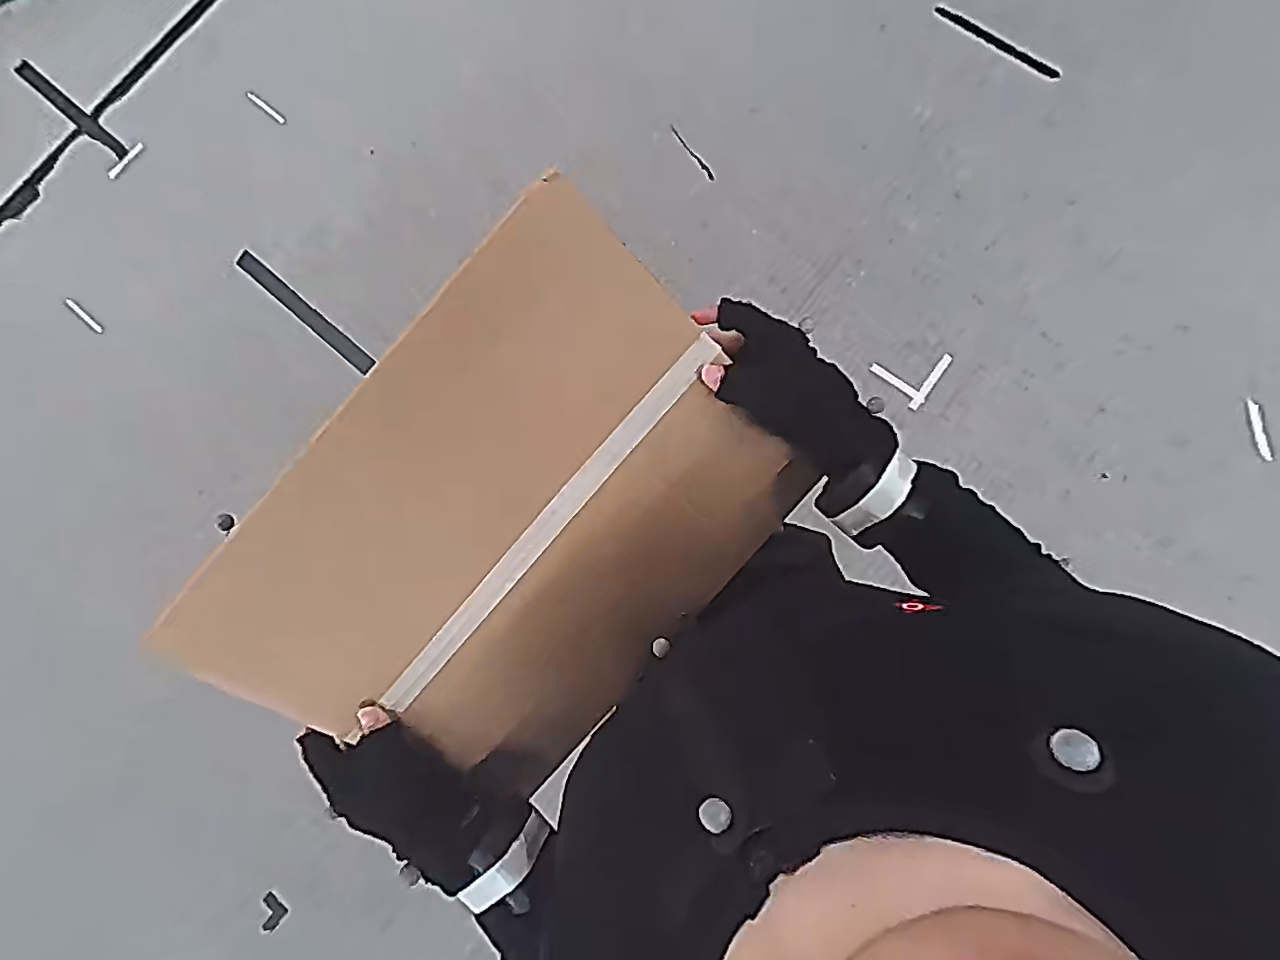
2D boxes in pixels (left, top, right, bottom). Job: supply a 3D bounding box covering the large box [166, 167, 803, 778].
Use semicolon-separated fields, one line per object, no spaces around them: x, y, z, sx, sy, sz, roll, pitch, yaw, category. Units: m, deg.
-0.132;-0.009;0.553;0.320;0.320;0.408;41;93;-25;large box
